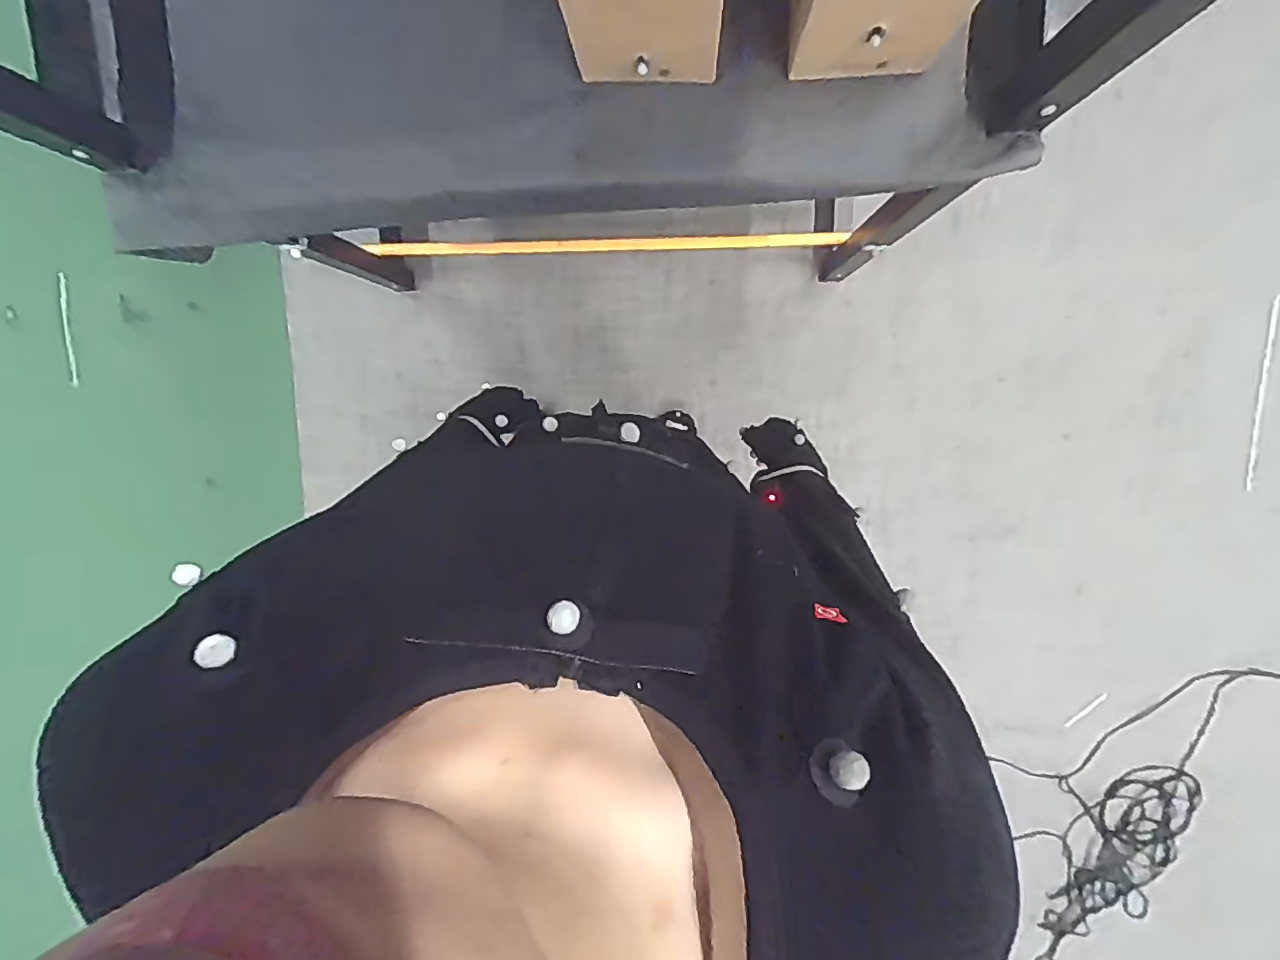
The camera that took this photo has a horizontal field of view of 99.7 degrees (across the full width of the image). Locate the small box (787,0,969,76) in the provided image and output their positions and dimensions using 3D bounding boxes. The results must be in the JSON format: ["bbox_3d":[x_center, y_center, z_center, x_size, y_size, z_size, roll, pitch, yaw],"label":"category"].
[{"bbox_3d":[0.253,-0.556,0.563,0.168,0.176,0.179,0,97,4],"label":"small box"}]
